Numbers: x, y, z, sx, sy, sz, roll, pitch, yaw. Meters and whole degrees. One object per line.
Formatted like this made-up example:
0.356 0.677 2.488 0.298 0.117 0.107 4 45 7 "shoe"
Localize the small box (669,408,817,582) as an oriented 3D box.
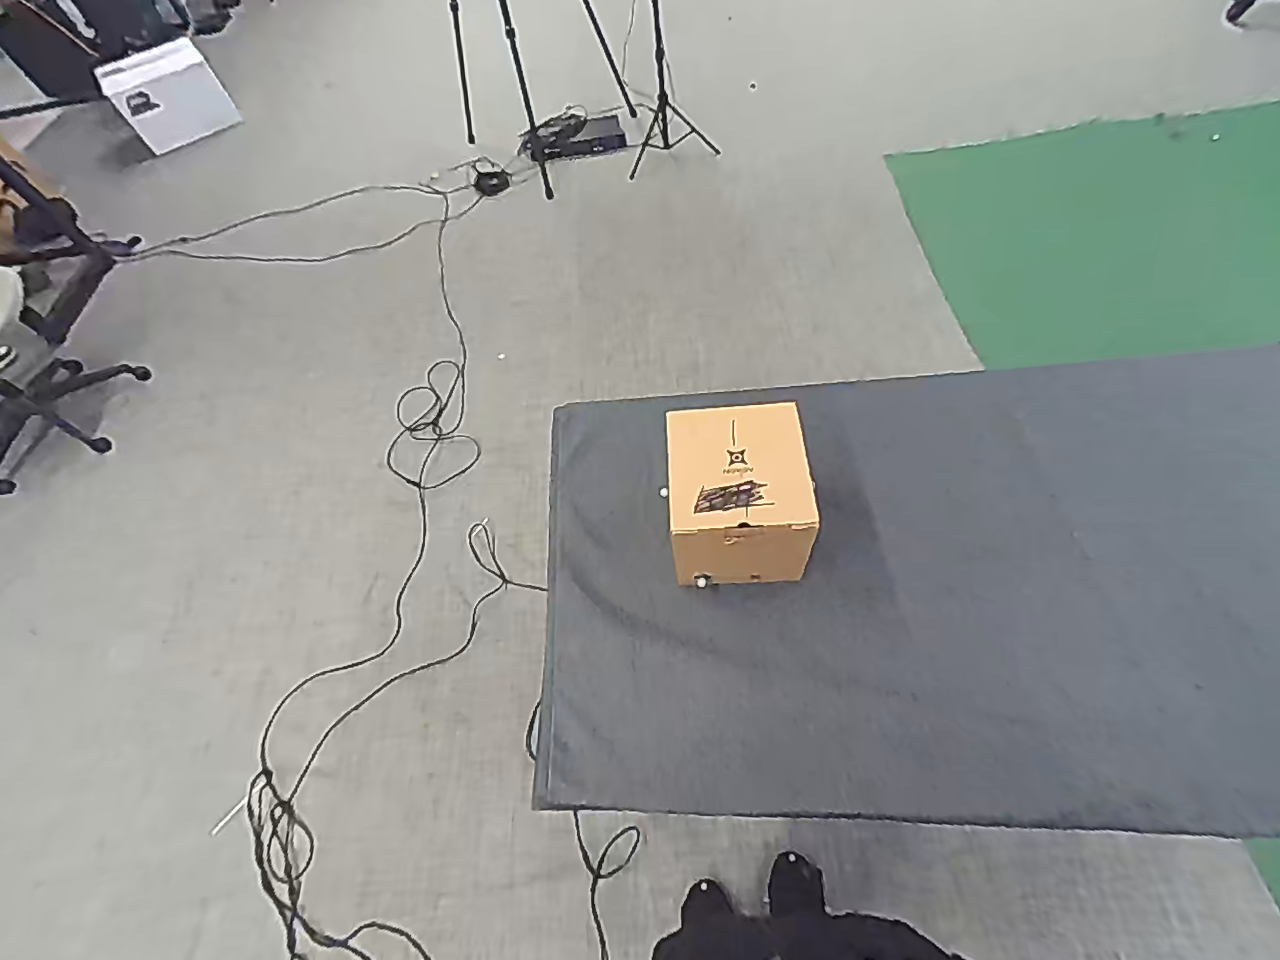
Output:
0.129 0.029 0.717 0.168 0.176 0.179 -4 57 6 "small box"
